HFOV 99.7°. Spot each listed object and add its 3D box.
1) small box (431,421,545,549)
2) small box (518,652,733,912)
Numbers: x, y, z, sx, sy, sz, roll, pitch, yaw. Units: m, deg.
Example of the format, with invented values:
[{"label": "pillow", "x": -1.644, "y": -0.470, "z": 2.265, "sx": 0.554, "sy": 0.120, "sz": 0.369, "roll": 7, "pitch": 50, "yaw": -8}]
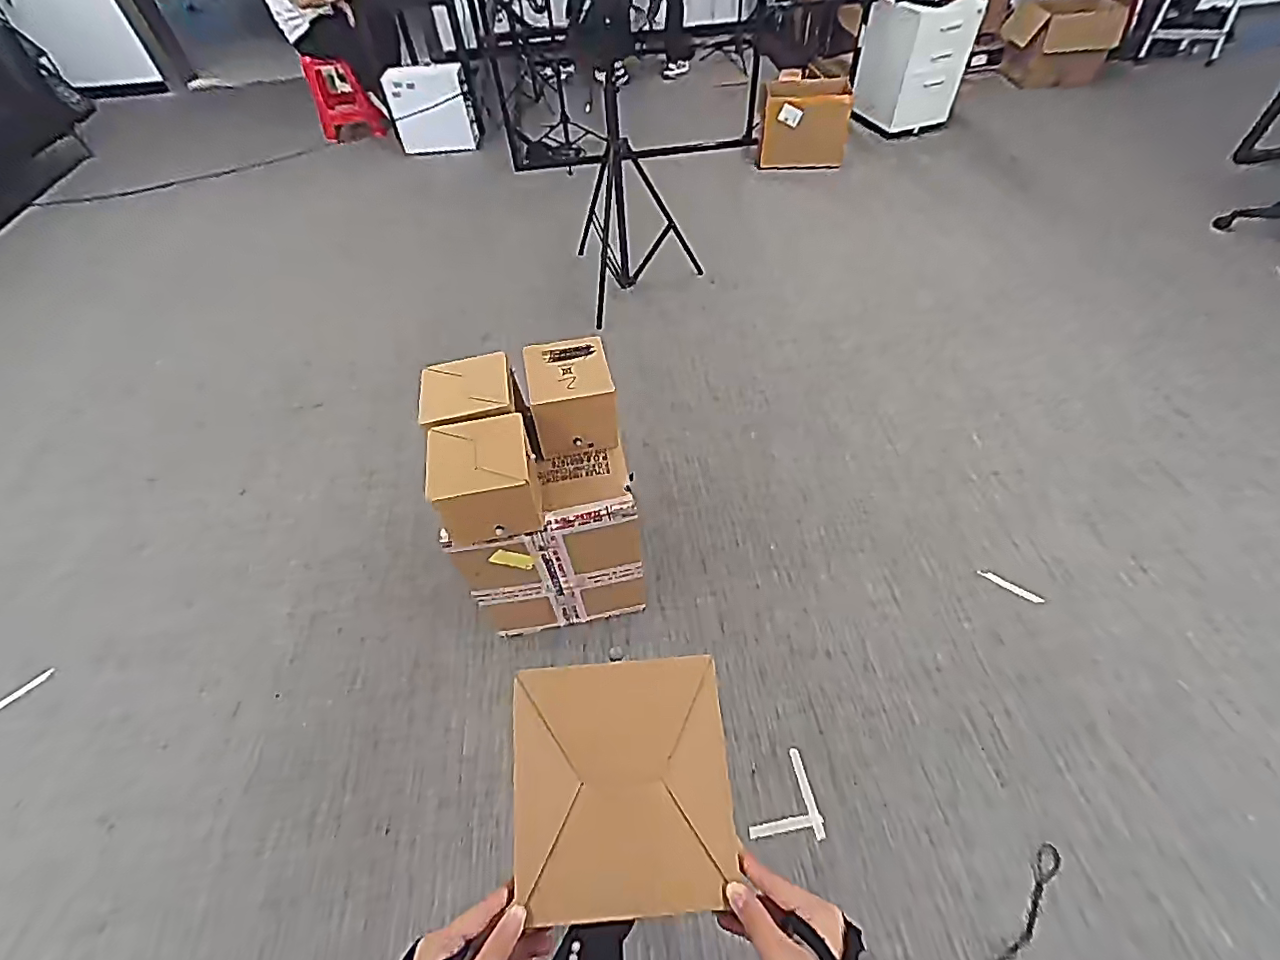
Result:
[{"label": "small box", "x": -0.289, "y": 0.008, "z": 1.032, "sx": 0.179, "sy": 0.176, "sz": 0.168, "roll": -11, "pitch": 55, "yaw": -5}, {"label": "small box", "x": -0.014, "y": 0.259, "z": 0.497, "sx": 0.168, "sy": 0.176, "sz": 0.179, "roll": -4, "pitch": 71, "yaw": -2}]
